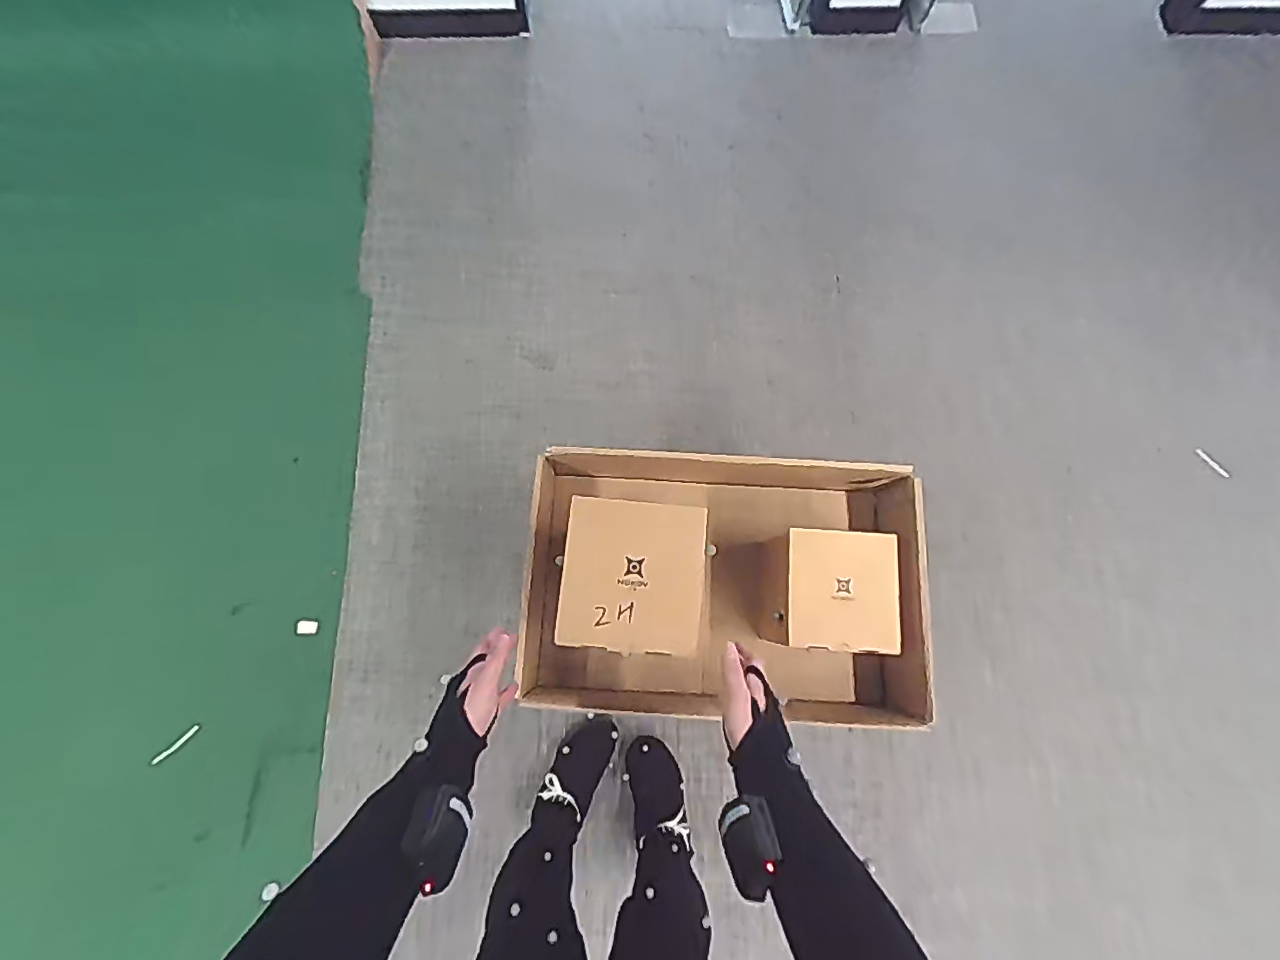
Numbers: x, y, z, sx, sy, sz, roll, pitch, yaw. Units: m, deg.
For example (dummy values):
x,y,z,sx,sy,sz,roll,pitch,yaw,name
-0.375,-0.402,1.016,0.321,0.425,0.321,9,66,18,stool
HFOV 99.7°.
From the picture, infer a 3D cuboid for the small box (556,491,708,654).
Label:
x,y,z,sx,sy,sz,roll,pitch,yaw,name
-0.007,0.122,0.705,0.168,0.176,0.179,5,78,2,small box
